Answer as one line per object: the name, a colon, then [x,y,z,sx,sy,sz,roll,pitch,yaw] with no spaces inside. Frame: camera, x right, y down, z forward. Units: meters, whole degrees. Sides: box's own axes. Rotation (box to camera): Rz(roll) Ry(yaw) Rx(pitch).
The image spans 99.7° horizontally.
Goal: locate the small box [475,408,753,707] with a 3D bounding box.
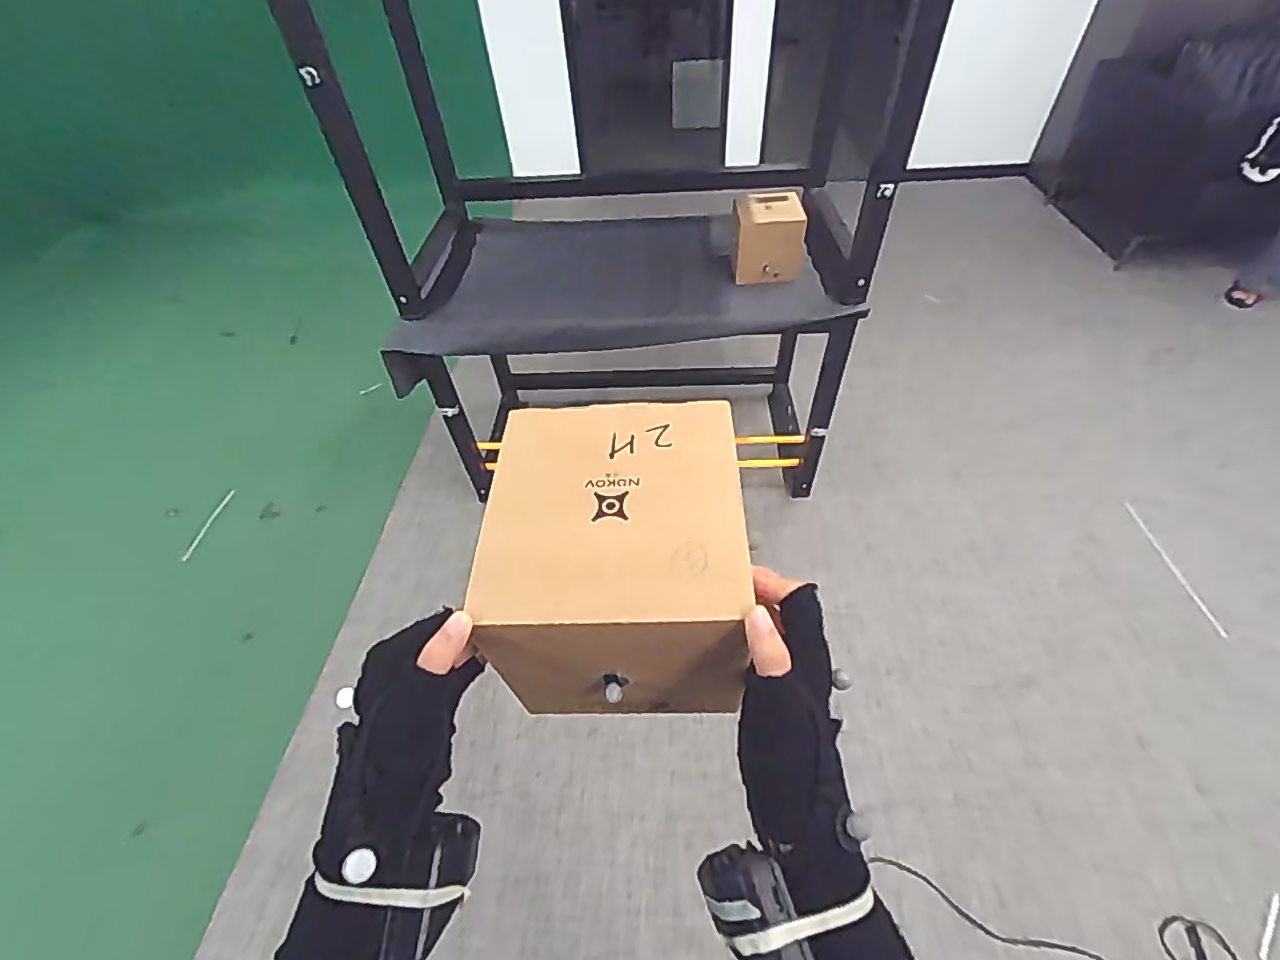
small box: [-0.009,0.067,0.421,0.168,0.176,0.179,-2,50,3]
